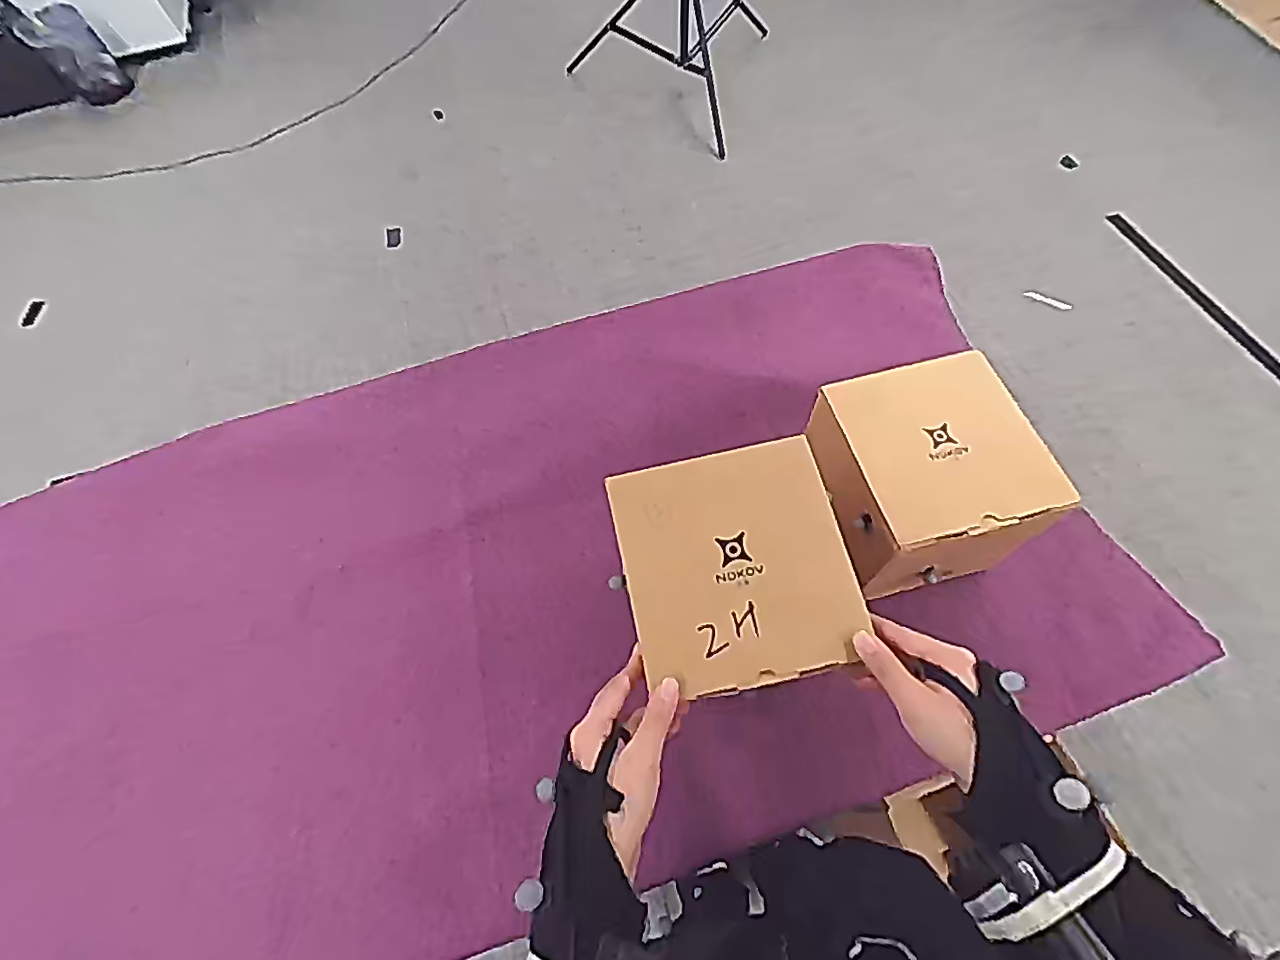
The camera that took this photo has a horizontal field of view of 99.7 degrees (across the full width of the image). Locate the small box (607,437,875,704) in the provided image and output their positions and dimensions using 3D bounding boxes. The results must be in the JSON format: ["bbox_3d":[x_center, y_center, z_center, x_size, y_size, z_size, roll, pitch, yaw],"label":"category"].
[{"bbox_3d":[0.072,0.087,0.478,0.168,0.176,0.179,-13,71,-1],"label":"small box"}]

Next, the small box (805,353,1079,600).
[{"bbox_3d":[0.276,0.003,0.558,0.168,0.176,0.179,-14,62,-2],"label":"small box"}]
